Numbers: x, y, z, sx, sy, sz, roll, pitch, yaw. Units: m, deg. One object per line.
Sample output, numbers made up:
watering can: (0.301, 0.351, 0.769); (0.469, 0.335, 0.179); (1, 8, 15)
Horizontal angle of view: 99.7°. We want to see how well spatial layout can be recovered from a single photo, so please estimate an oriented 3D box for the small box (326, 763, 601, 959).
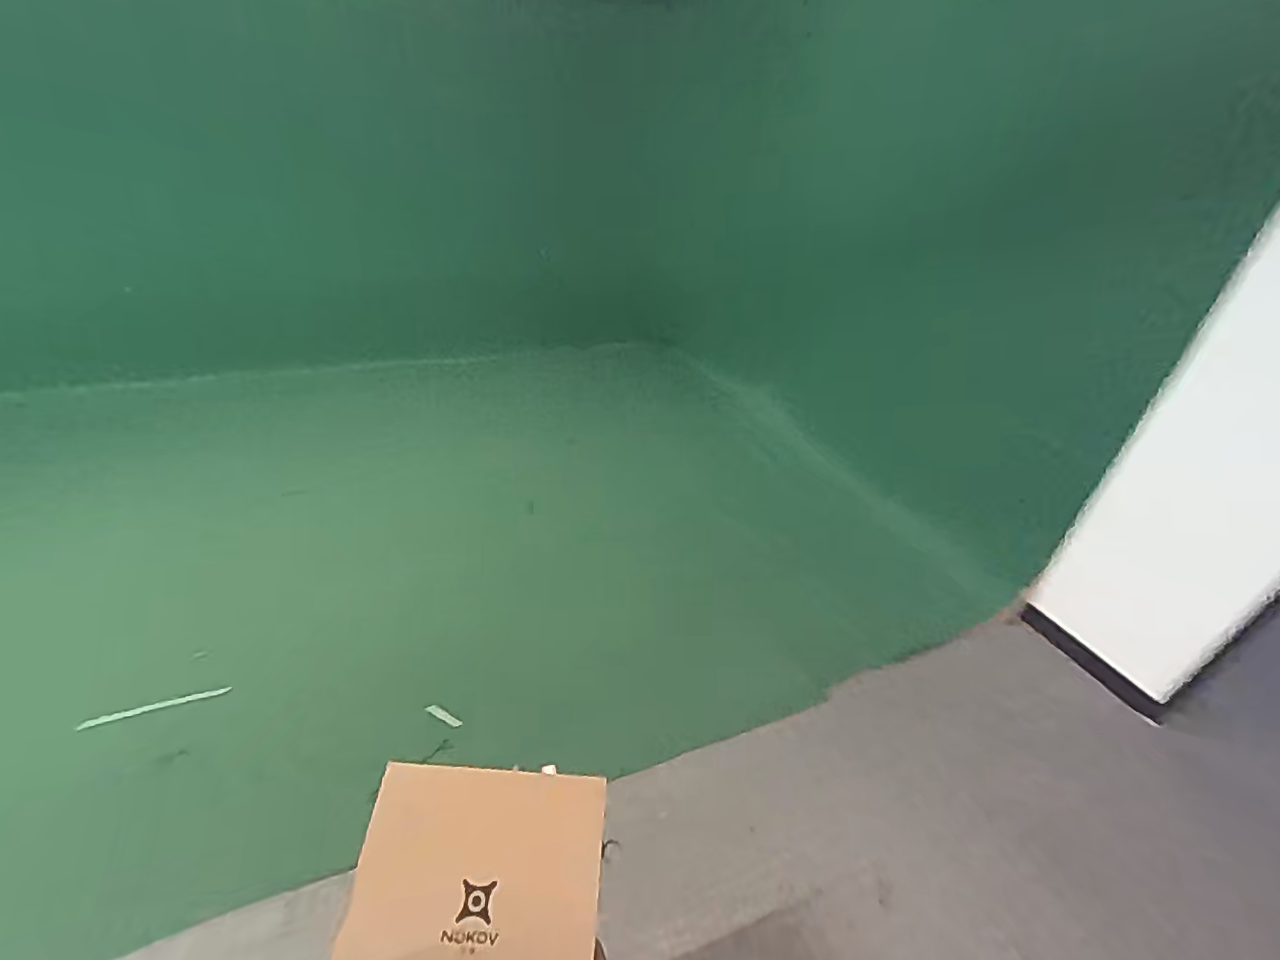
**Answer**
small box: (-0.125, 0.336, 0.422); (0.168, 0.176, 0.179); (6, 54, -4)
